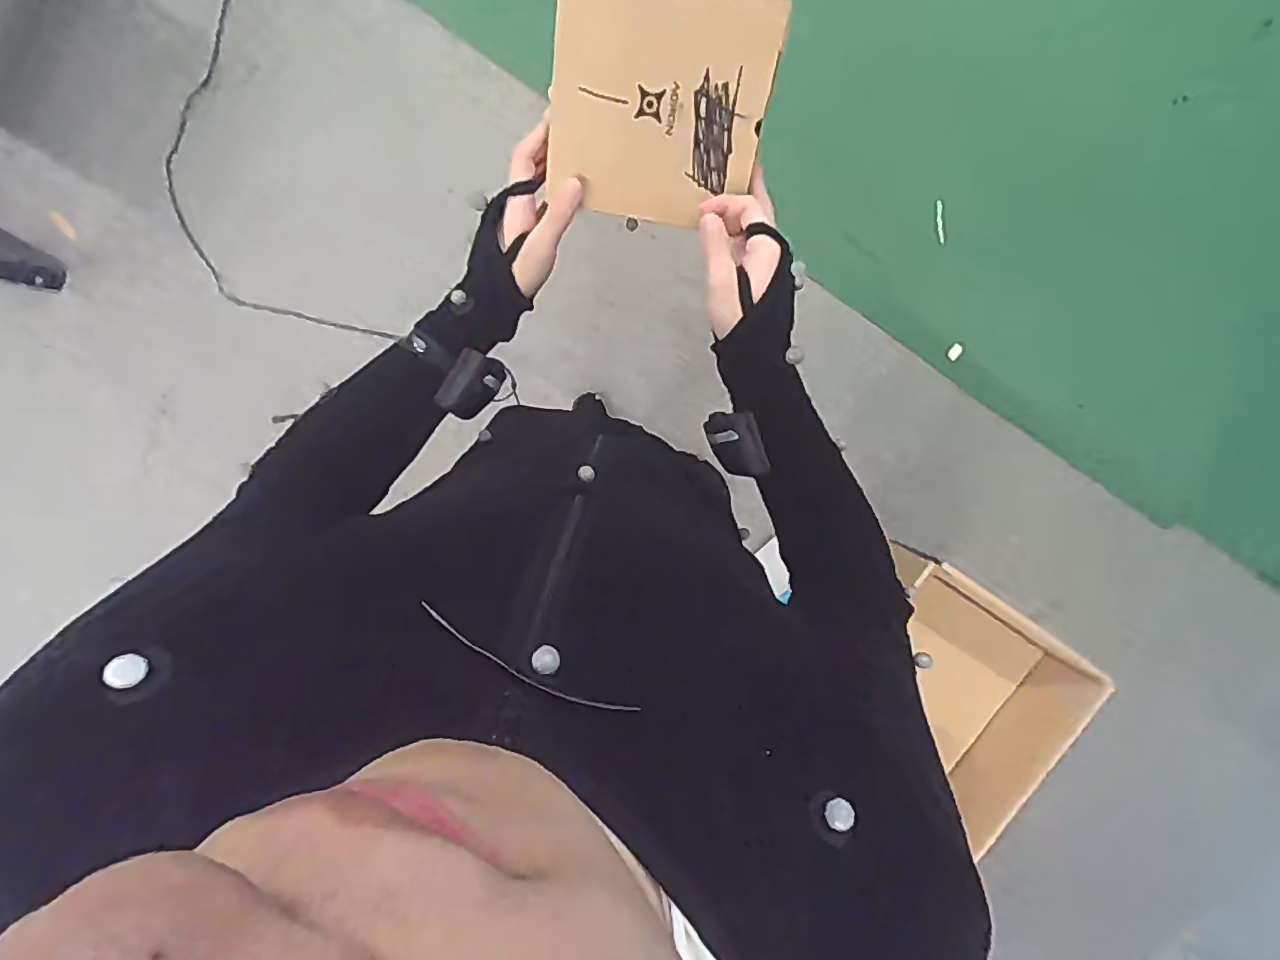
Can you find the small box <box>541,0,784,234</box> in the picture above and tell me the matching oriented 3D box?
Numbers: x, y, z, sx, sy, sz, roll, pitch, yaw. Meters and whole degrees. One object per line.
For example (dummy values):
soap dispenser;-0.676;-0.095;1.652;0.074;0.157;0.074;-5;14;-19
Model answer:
small box;0.011;-0.339;0.505;0.179;0.176;0.168;7;118;-4
